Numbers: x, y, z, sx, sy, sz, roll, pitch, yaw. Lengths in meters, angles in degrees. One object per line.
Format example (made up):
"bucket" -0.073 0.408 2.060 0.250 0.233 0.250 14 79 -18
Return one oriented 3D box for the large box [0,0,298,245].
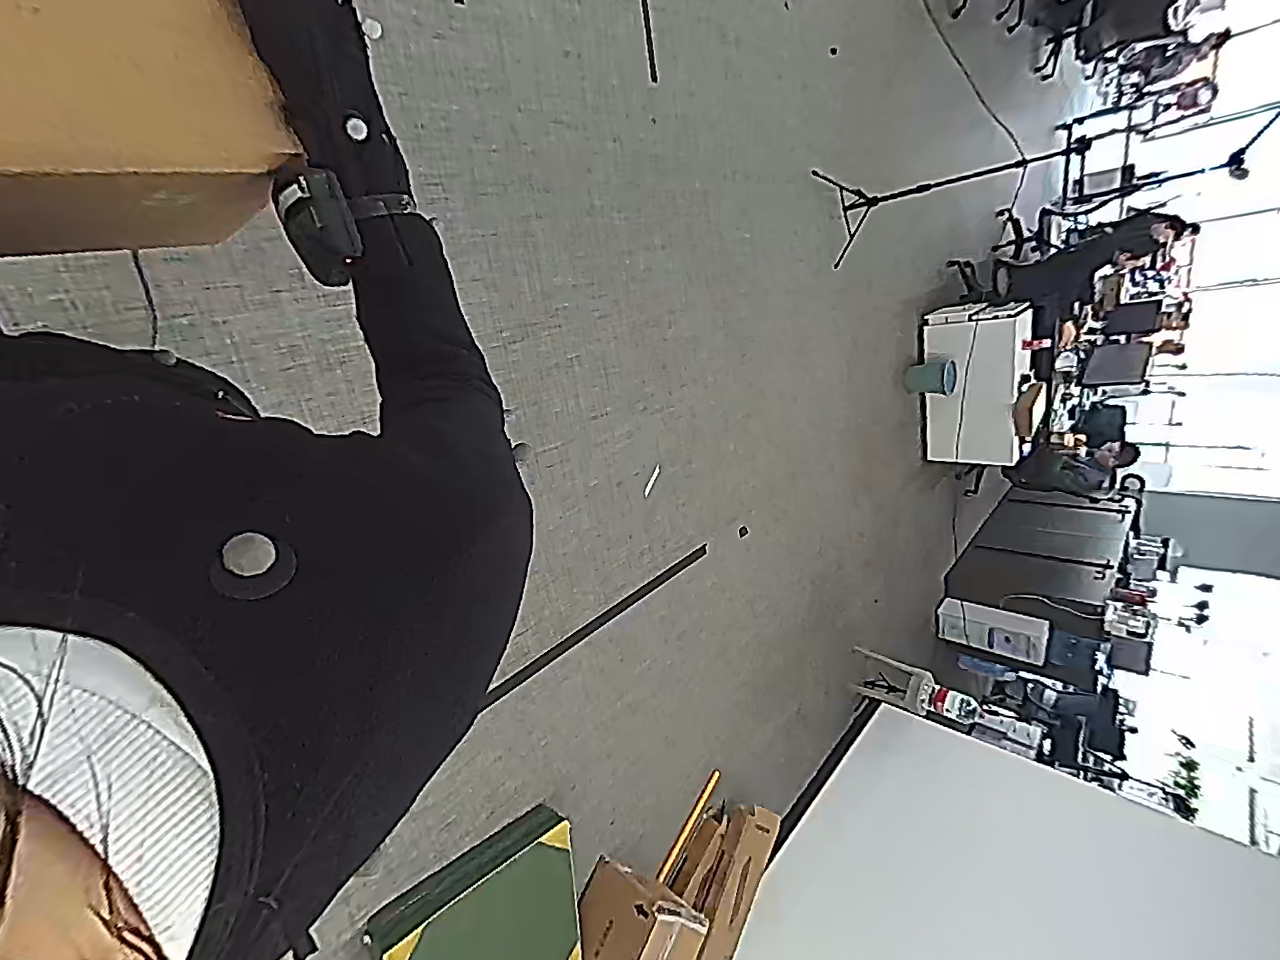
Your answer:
"large box" -0.503 -0.312 0.298 0.408 0.320 0.320 -29 120 -40
